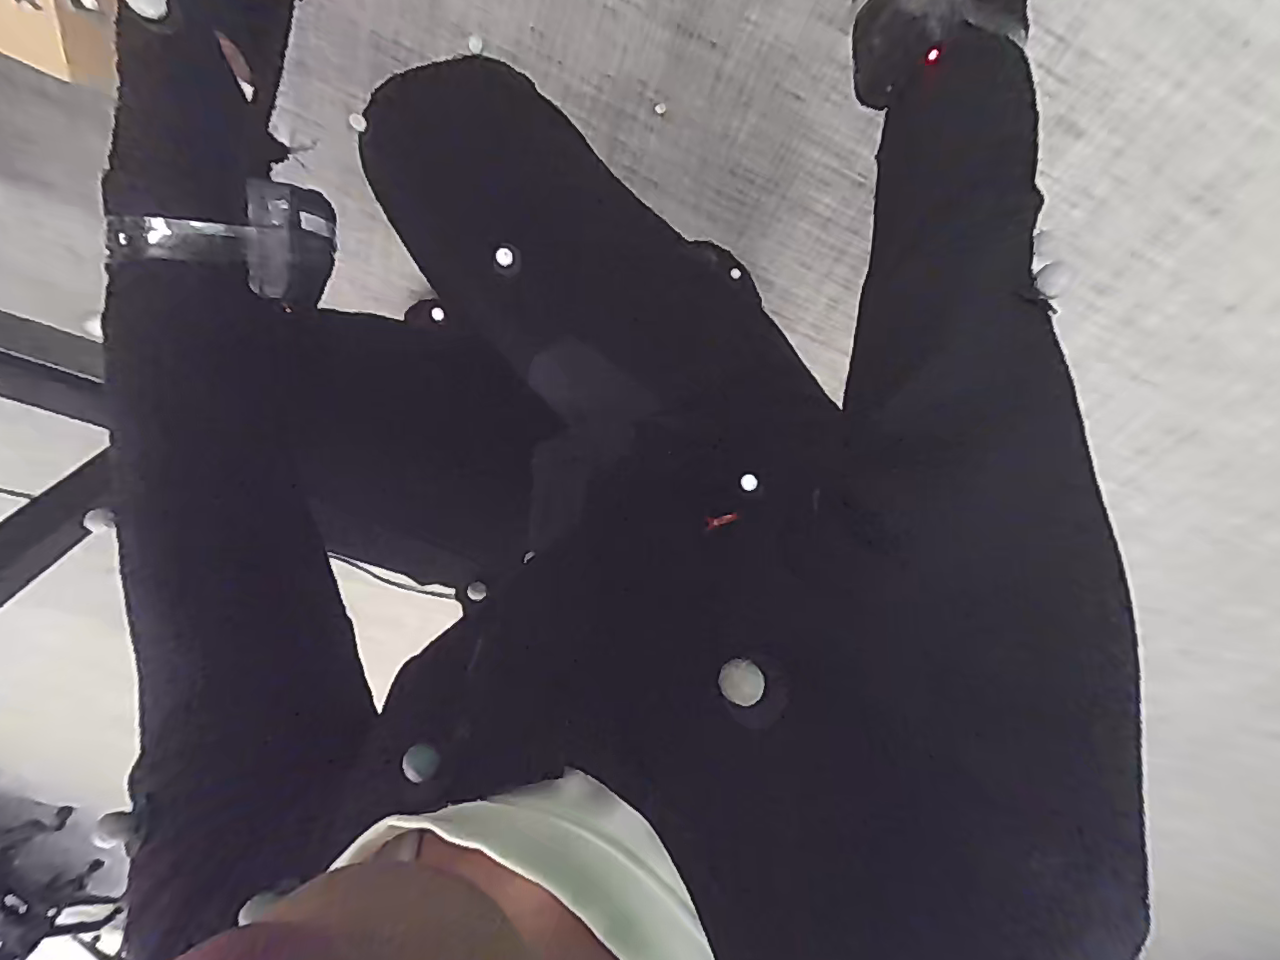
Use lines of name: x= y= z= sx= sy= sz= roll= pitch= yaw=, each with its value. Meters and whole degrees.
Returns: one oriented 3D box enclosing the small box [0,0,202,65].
small box: x=-0.529 y=-0.491 z=0.461 sx=0.179 sy=0.176 sz=0.168 roll=23 pitch=129 yaw=-10
